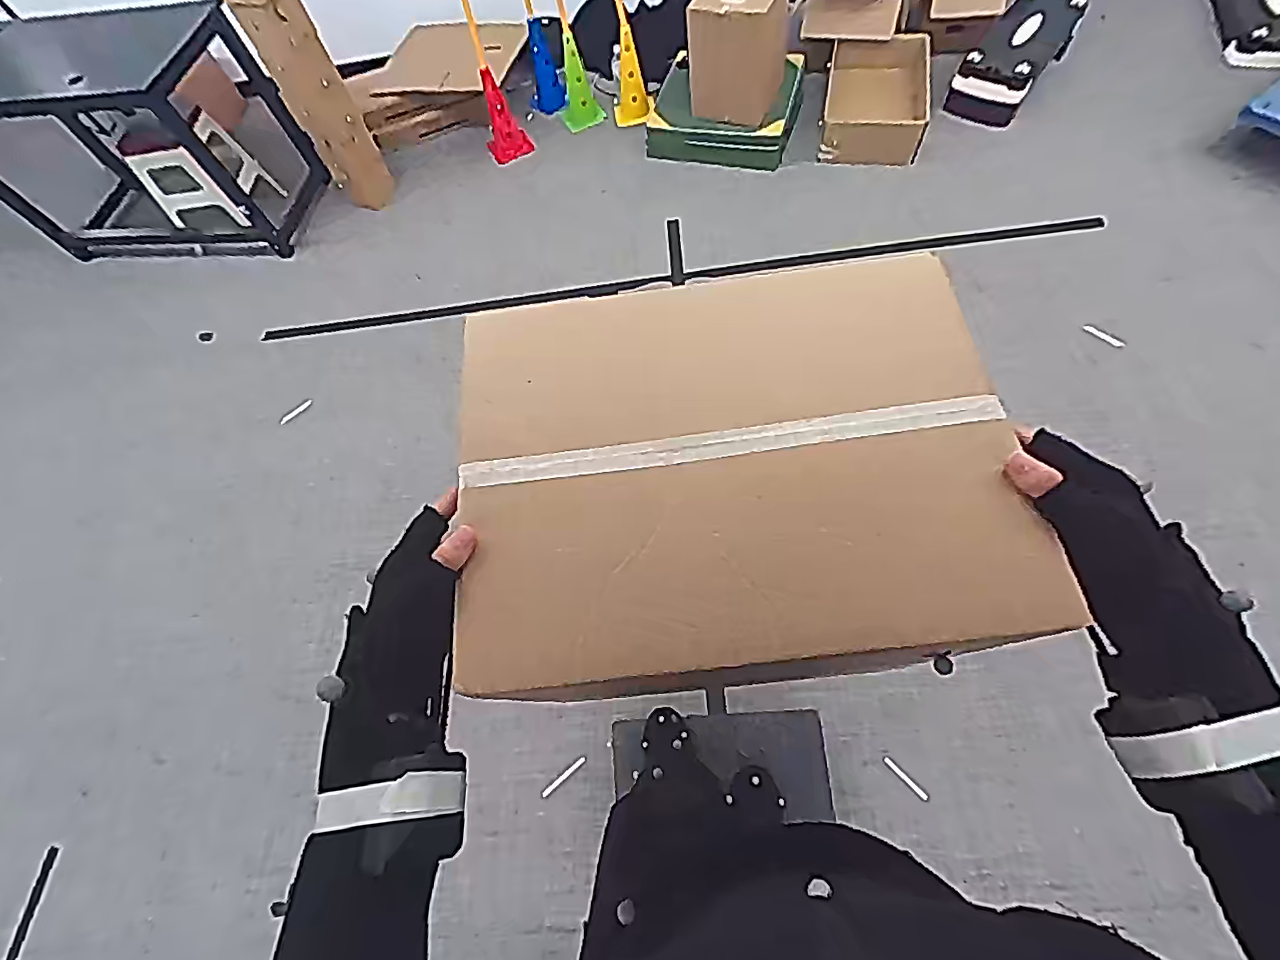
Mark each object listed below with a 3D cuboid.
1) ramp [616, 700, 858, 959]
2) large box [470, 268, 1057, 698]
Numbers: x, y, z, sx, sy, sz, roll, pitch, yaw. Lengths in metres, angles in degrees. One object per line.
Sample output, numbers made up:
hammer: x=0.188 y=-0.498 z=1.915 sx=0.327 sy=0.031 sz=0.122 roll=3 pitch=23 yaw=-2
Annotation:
ramp: x=0.219 y=1.018 z=1.160 sx=0.509 sy=0.206 sz=0.991 roll=-7 pitch=64 yaw=3
large box: x=0.079 y=0.037 z=0.555 sx=0.408 sy=0.320 sz=0.320 roll=-7 pitch=66 yaw=3
